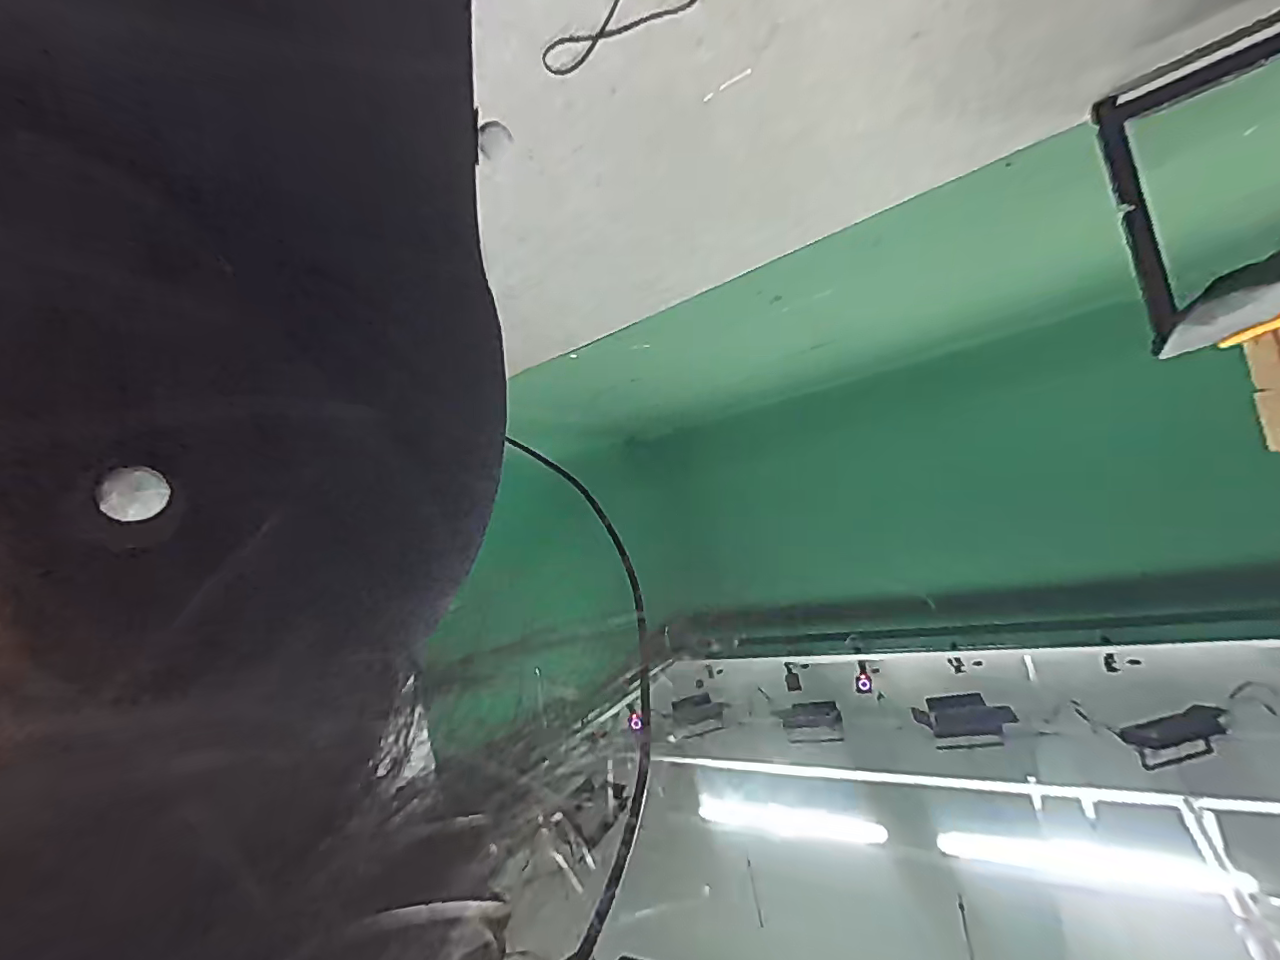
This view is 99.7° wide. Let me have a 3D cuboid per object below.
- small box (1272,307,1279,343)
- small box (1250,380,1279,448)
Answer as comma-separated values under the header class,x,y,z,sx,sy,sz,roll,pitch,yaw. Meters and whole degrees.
class,x,y,z,sx,sy,sz,roll,pitch,yaw
small box,1.516,-0.328,1.146,0.179,0.176,0.168,-14,177,29
small box,1.672,-0.182,1.331,0.168,0.176,0.179,-13,177,27
